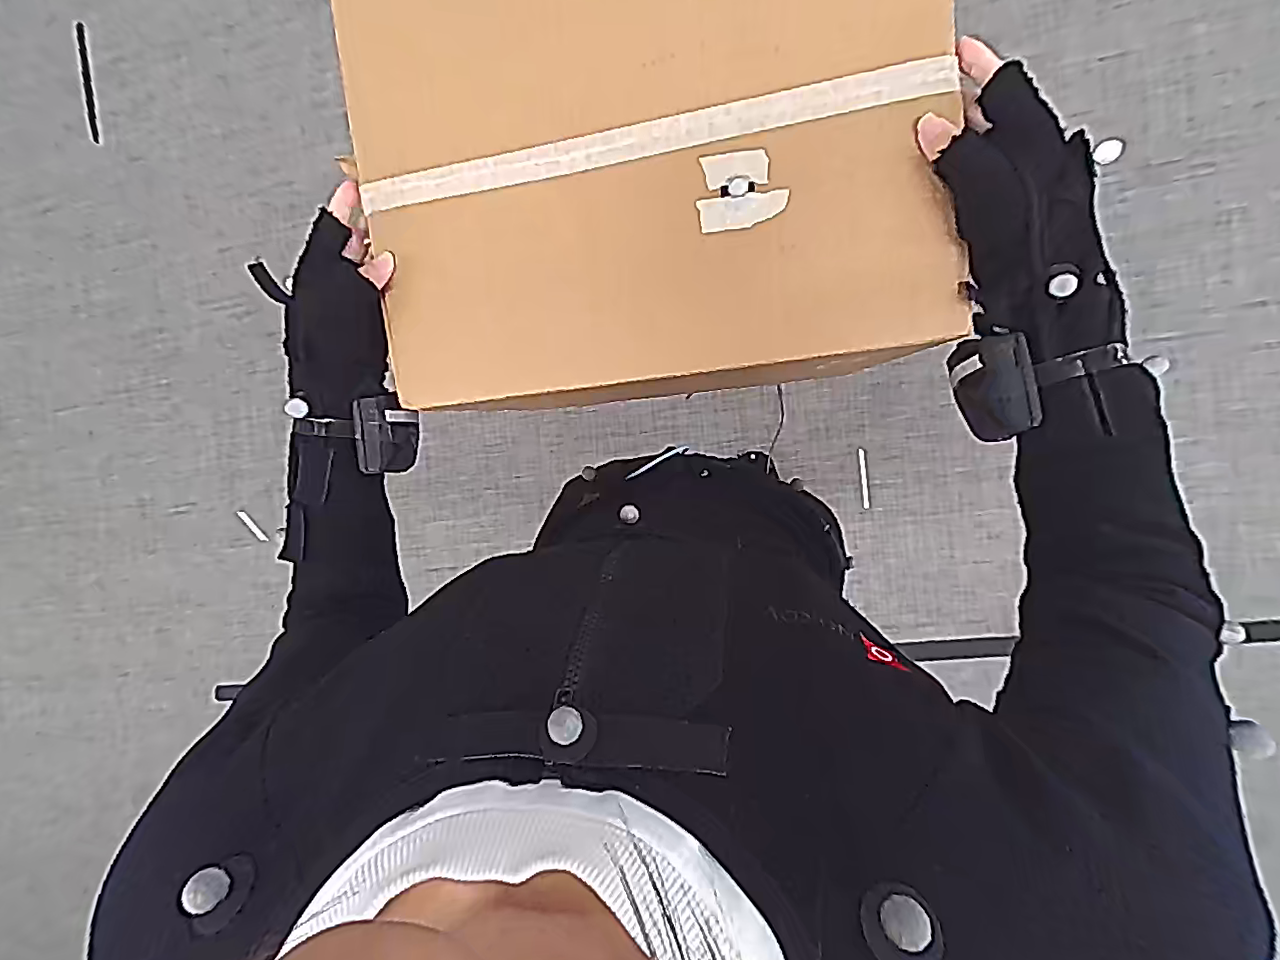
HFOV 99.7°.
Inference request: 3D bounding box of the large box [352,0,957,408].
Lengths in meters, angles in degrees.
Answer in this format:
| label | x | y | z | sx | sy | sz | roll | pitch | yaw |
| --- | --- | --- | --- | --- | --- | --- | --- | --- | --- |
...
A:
| label | x | y | z | sx | sy | sz | roll | pitch | yaw |
| --- | --- | --- | --- | --- | --- | --- | --- | --- | --- |
| large box | 0.020 | -0.251 | 0.525 | 0.408 | 0.320 | 0.320 | -6 | 97 | 9 |
